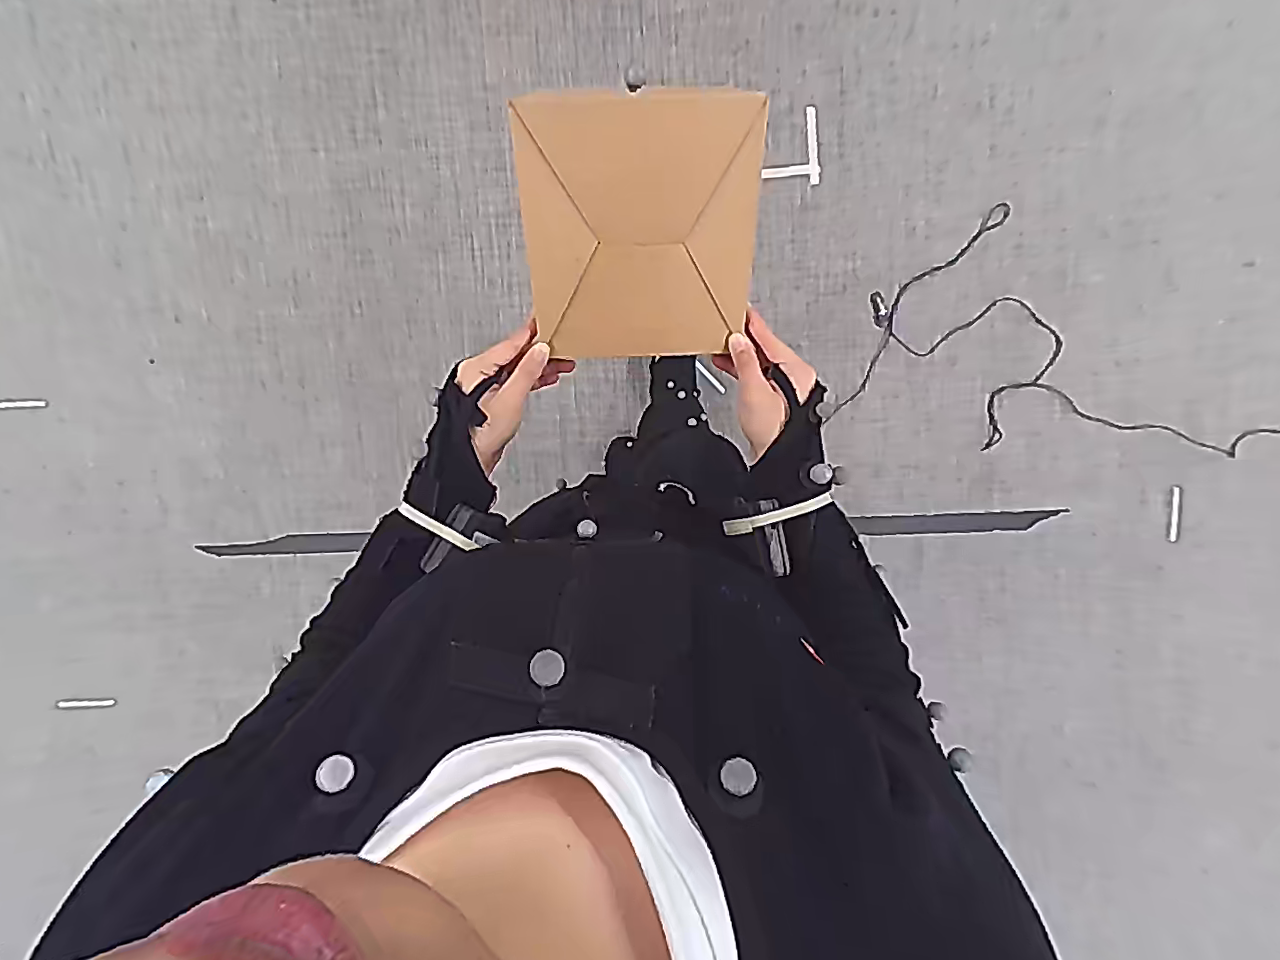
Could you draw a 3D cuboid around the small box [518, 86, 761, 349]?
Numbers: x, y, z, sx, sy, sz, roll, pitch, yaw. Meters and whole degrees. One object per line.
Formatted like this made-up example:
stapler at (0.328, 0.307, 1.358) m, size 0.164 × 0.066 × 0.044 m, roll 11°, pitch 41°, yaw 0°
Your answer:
small box at (-0.003, -0.224, 0.459) m, size 0.168 × 0.176 × 0.179 m, roll -2°, pitch 128°, yaw -2°
